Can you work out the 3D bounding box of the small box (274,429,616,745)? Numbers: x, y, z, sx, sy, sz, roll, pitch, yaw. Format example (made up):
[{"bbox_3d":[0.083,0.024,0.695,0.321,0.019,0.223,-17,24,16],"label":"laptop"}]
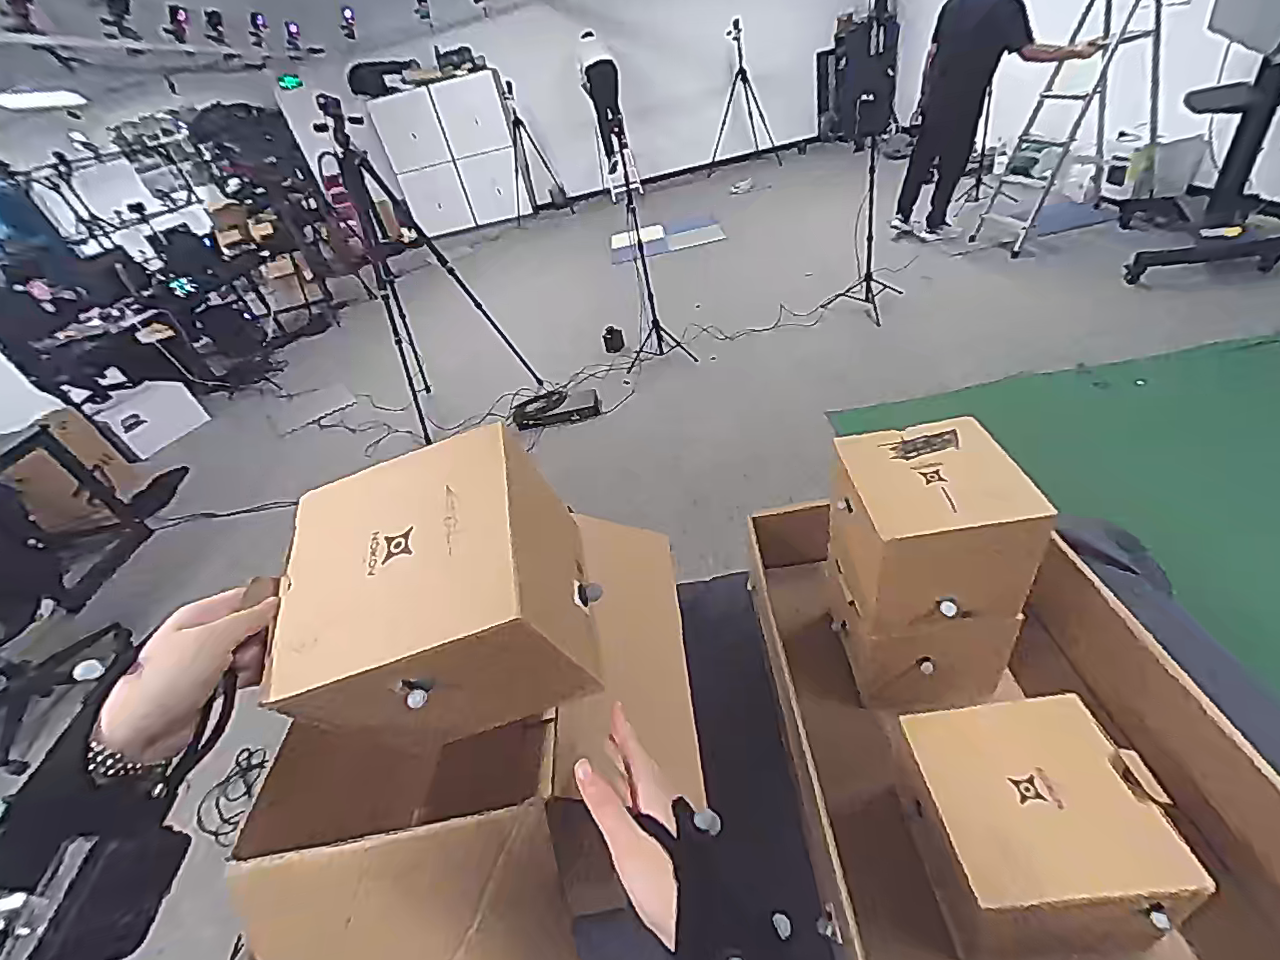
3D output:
[{"bbox_3d":[-0.136,0.094,0.431,0.179,0.176,0.168,-19,53,5],"label":"small box"}]

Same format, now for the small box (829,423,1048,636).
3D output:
[{"bbox_3d":[0.330,0.059,0.646,0.168,0.176,0.179,-10,39,7],"label":"small box"}]
